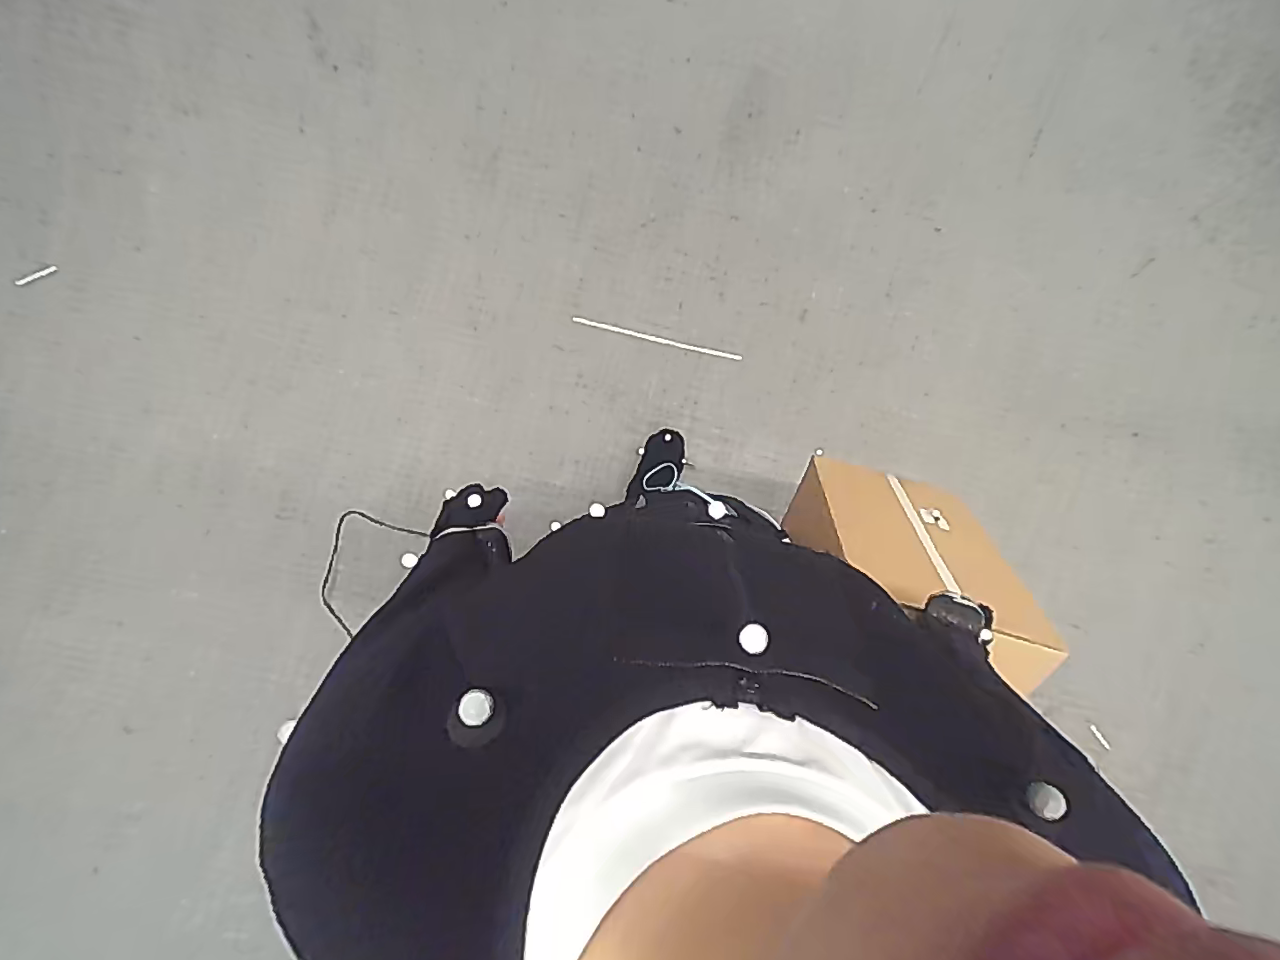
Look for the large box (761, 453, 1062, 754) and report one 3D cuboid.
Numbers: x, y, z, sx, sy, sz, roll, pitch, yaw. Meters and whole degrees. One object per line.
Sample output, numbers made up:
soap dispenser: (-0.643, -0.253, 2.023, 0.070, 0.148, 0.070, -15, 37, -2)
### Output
large box: (0.432, 0.209, 0.994, 0.320, 0.408, 0.320, 17, 122, -2)
